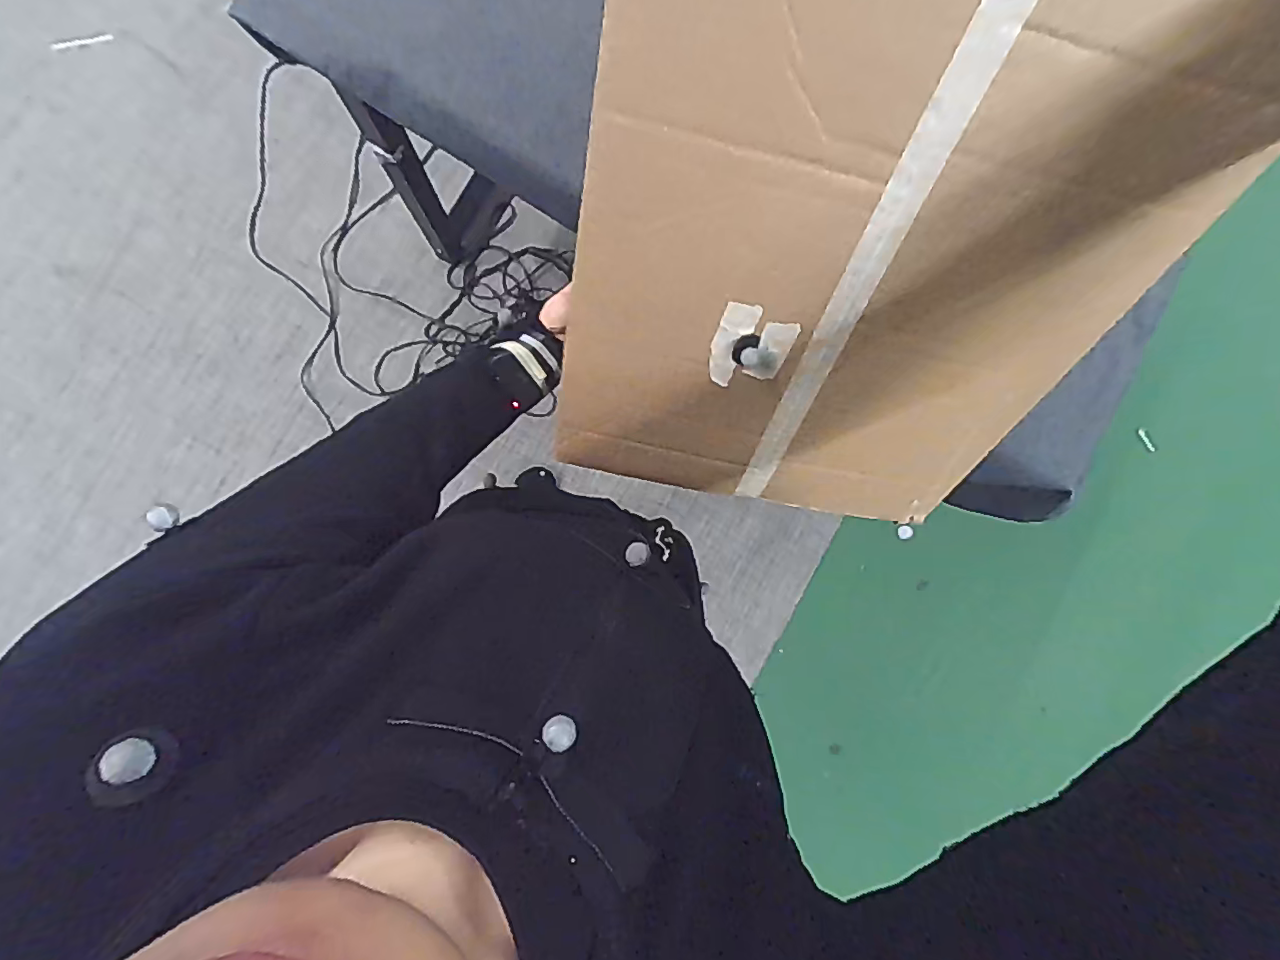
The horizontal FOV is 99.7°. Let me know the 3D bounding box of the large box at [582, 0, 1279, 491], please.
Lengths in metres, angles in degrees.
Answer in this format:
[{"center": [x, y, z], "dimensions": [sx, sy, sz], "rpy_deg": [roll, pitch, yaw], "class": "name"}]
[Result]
[{"center": [0.141, -0.250, 0.405], "dimensions": [0.320, 0.408, 0.320], "rpy_deg": [9, 49, -6], "class": "large box"}]
